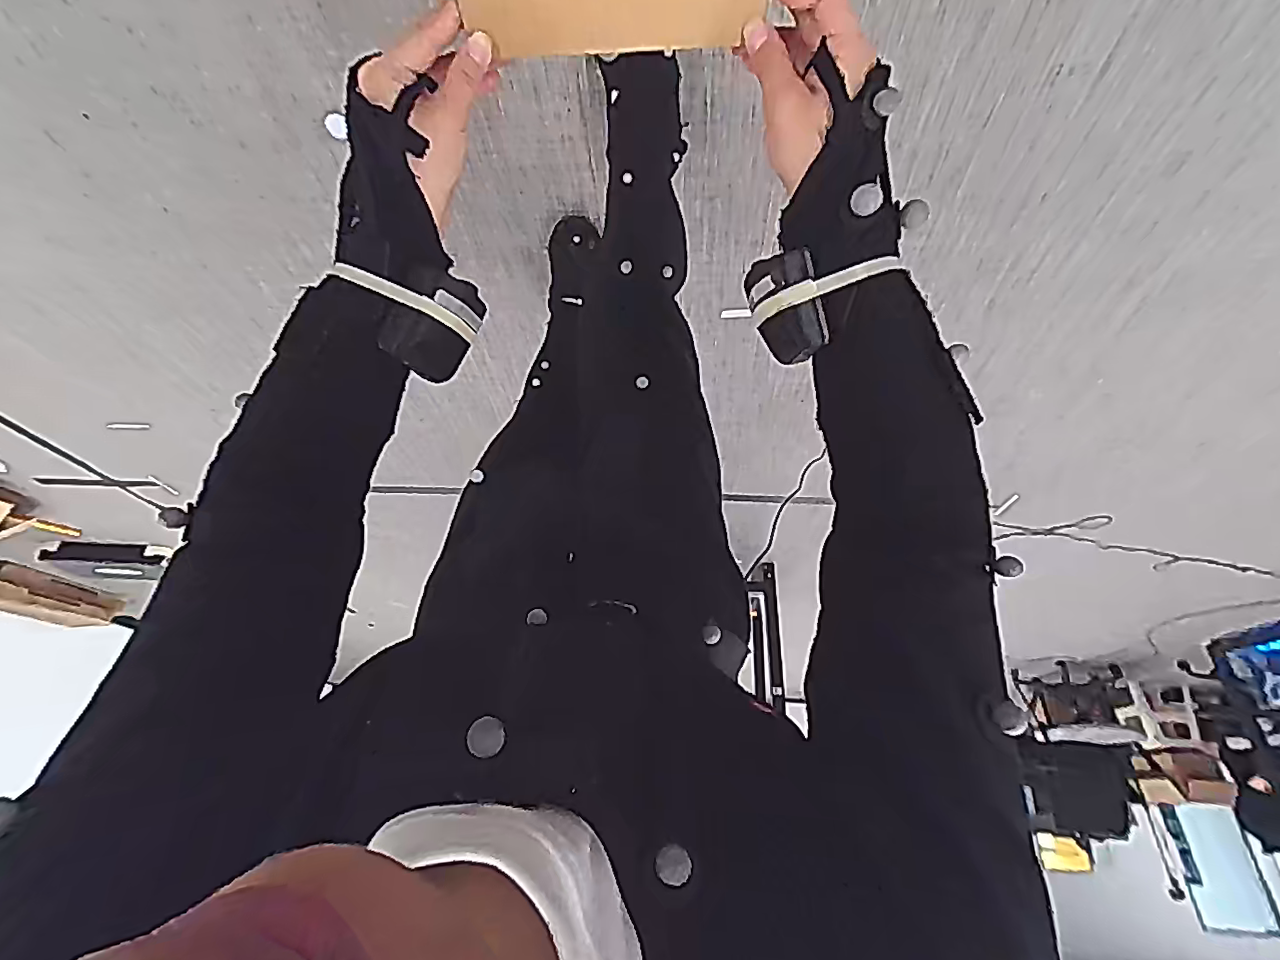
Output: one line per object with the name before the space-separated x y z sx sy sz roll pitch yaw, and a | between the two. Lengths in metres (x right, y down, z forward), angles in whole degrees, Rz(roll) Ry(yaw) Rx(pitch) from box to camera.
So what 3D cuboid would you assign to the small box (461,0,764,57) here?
small box | -0.017 -0.371 0.300 0.179 0.176 0.168 1 149 5
